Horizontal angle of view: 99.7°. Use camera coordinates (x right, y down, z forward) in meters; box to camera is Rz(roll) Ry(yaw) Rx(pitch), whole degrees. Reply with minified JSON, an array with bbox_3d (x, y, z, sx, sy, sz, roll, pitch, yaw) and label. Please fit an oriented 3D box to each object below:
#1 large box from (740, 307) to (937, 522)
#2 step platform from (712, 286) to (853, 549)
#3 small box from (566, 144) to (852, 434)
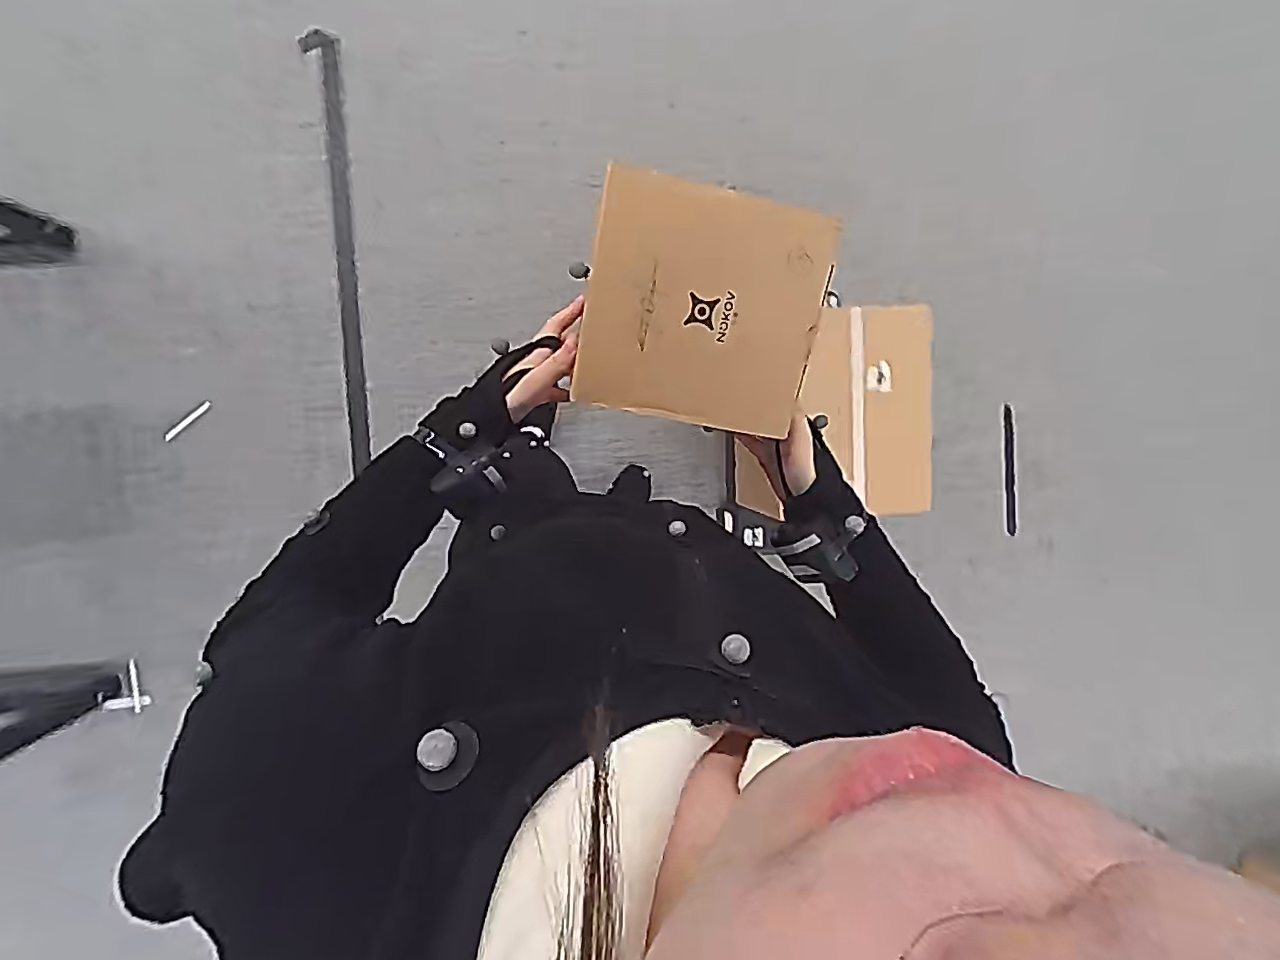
[{"bbox_3d":[0.404,-0.131,1.177,0.320,0.320,0.408,-2,93,-6],"label":"large box"},{"bbox_3d":[0.365,-0.161,1.412,0.286,0.204,0.684,3,92,-5],"label":"step platform"},{"bbox_3d":[0.037,-0.148,0.453,0.179,0.176,0.168,9,105,-10],"label":"small box"}]
